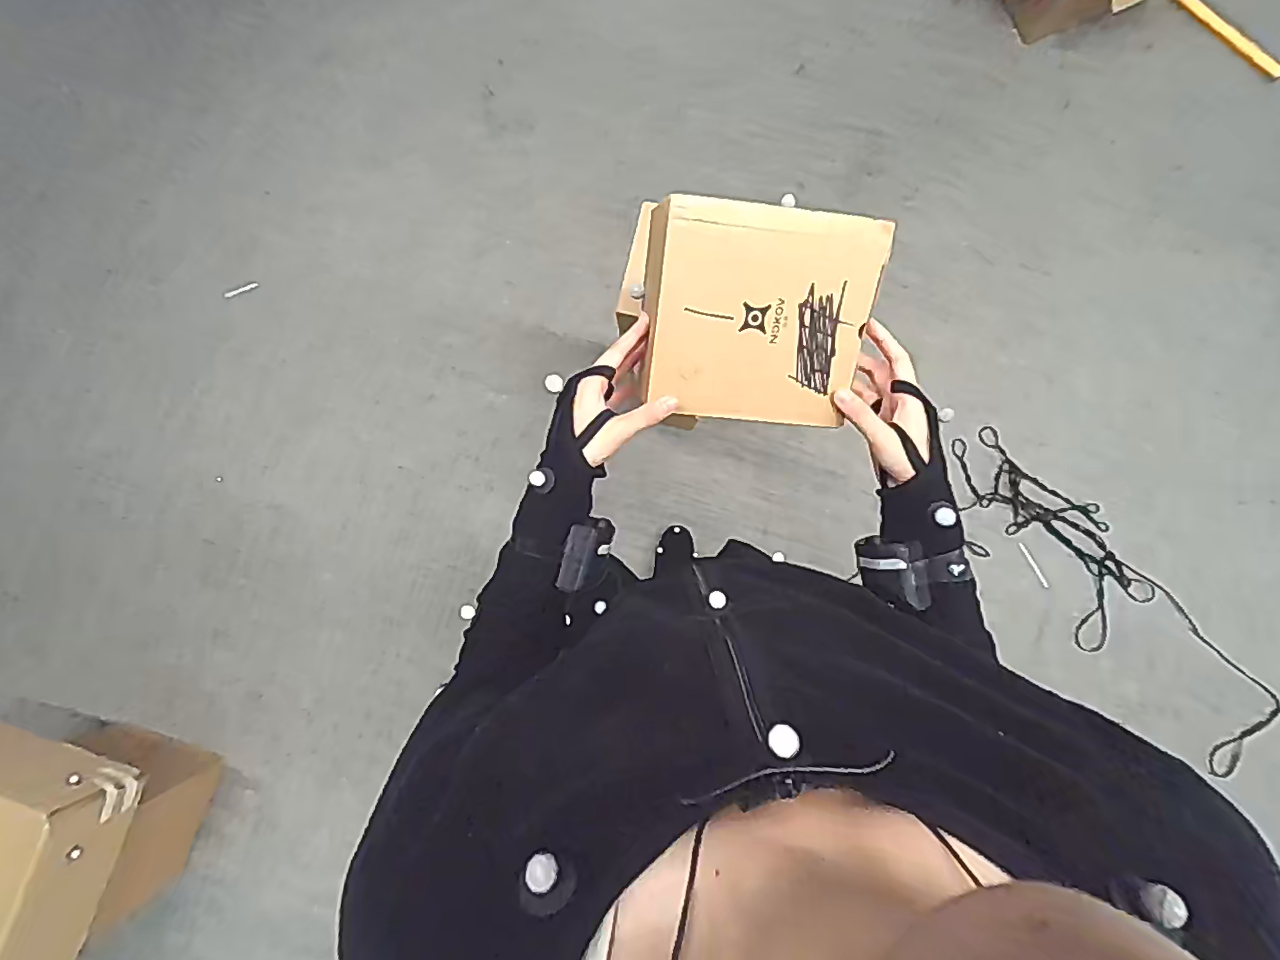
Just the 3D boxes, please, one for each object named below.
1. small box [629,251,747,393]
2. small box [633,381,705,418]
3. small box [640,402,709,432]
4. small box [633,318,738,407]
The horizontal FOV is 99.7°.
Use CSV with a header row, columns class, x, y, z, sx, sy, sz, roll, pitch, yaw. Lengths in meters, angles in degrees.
class,x,y,z,sx,sy,sz,roll,pitch,yaw
small box,0.081,-0.277,0.982,0.168,0.176,0.179,14,86,3
small box,0.091,-0.260,1.307,0.179,0.176,0.168,17,85,2
small box,0.103,-0.239,1.470,0.179,0.176,0.168,16,84,2
small box,0.090,-0.262,1.144,0.179,0.176,0.168,15,85,2
